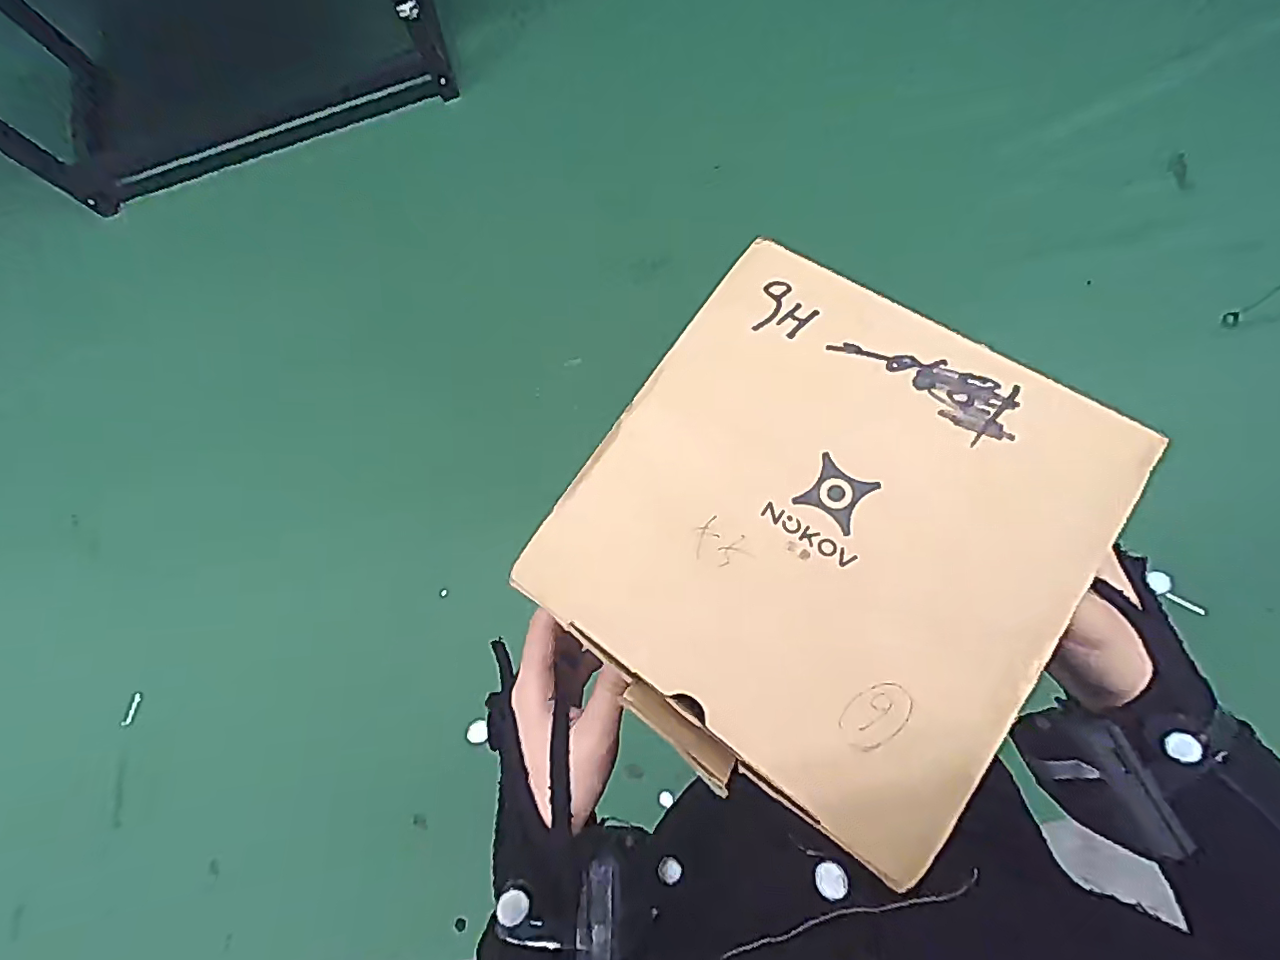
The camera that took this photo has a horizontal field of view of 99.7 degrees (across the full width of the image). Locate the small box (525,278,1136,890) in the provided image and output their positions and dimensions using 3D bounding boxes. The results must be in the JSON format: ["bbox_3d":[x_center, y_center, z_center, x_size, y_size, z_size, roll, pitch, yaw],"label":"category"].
[{"bbox_3d":[0.078,0.043,0.282,0.168,0.176,0.179,34,82,15],"label":"small box"}]
